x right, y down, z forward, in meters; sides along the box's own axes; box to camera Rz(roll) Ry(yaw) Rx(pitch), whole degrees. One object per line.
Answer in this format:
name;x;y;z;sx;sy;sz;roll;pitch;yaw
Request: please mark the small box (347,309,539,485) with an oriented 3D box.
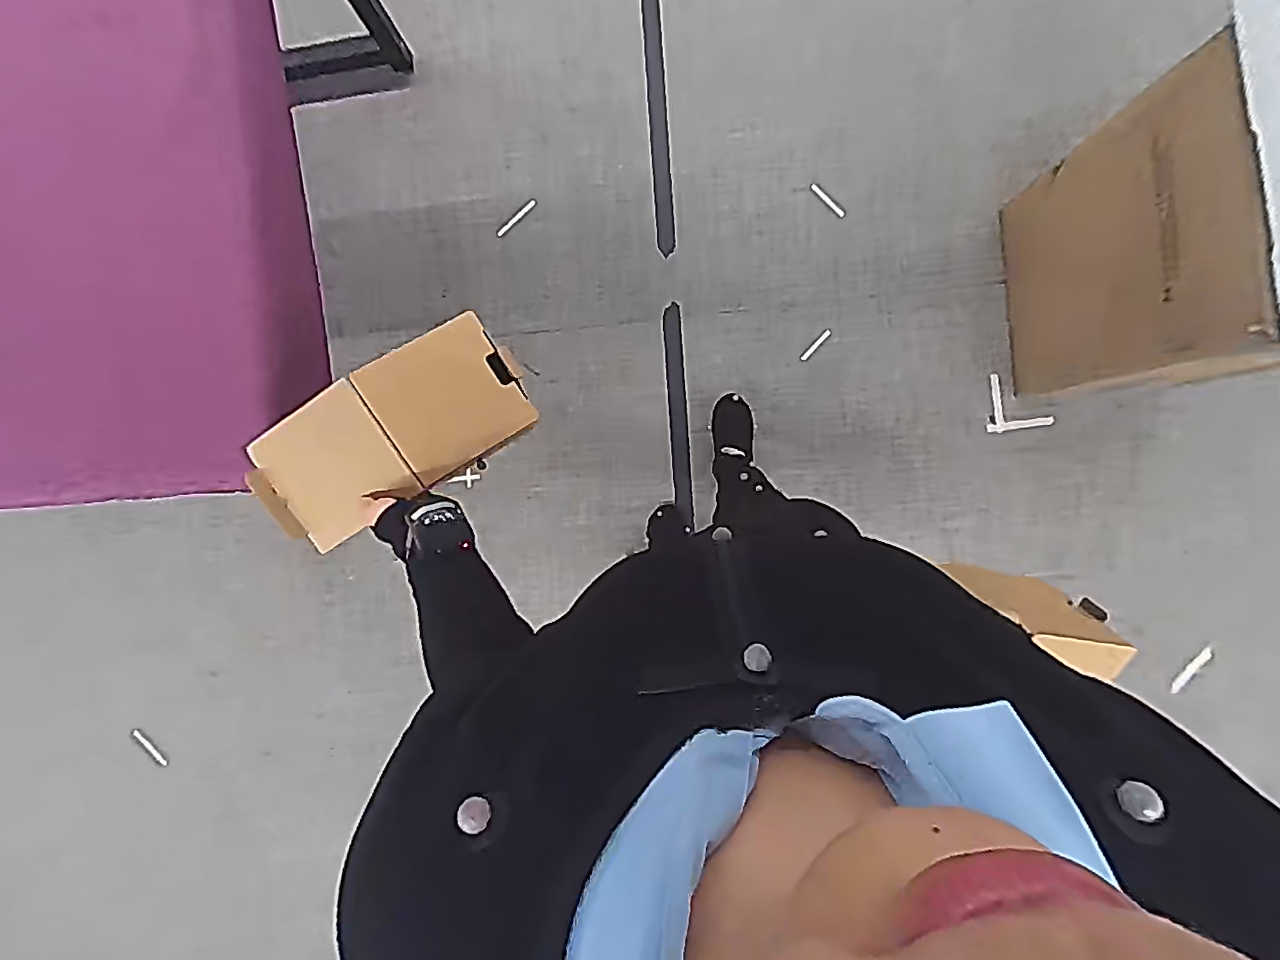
small box;-0.262;-0.103;0.753;0.179;0.176;0.168;-34;98;-15
